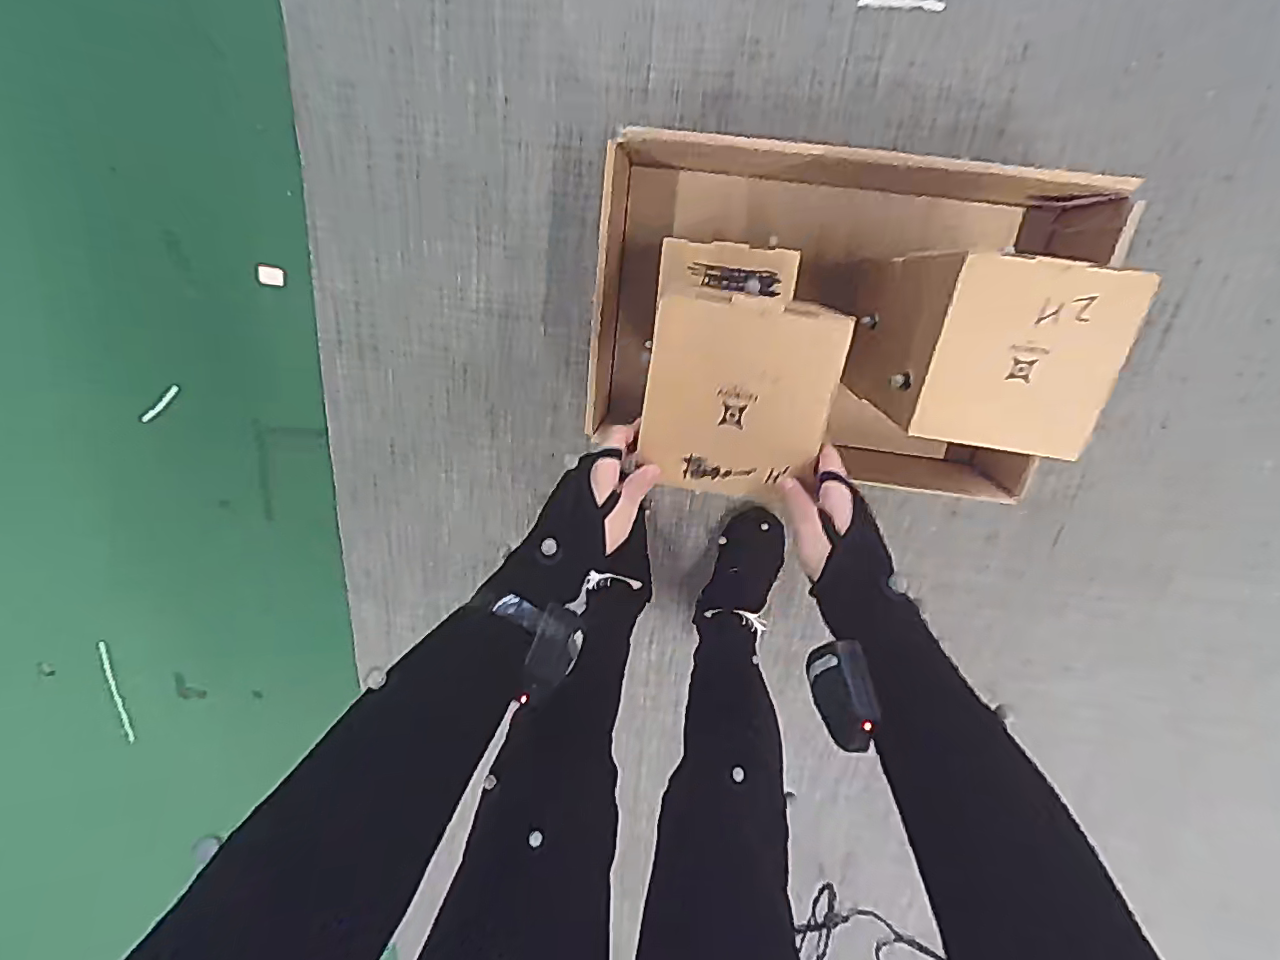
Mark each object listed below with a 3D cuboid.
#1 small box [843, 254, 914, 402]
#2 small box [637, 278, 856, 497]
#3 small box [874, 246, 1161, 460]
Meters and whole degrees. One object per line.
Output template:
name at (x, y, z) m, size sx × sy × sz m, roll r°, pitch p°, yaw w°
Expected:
small box at (0.386, -0.199, 0.727) m, size 0.168 × 0.176 × 0.179 m, roll 10°, pitch 112°, yaw 4°
small box at (0.096, -0.105, 0.555) m, size 0.168 × 0.176 × 0.179 m, roll 10°, pitch 113°, yaw 3°
small box at (0.367, -0.141, 0.573) m, size 0.168 × 0.176 × 0.179 m, roll 10°, pitch 112°, yaw 4°
